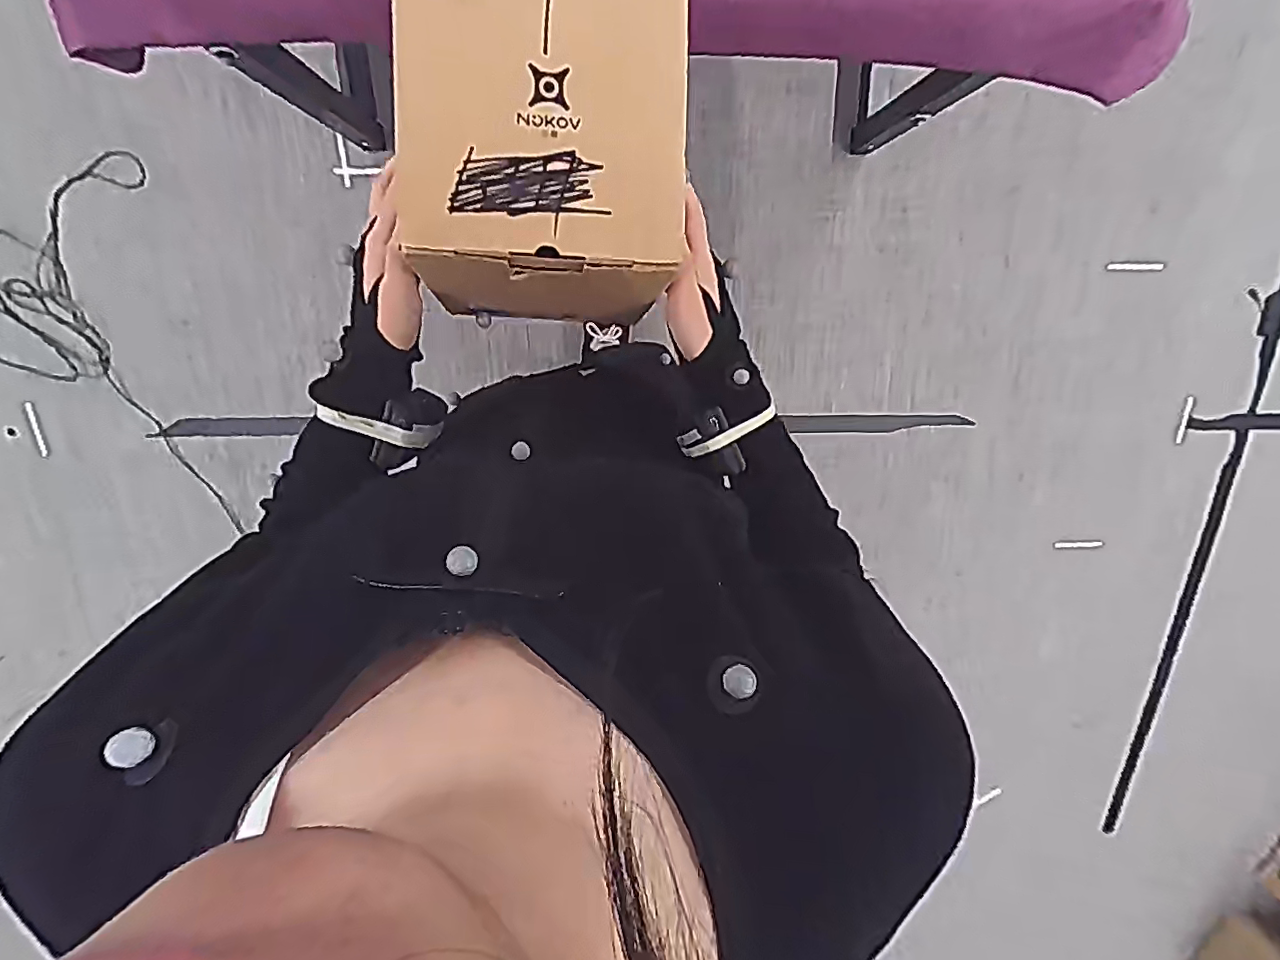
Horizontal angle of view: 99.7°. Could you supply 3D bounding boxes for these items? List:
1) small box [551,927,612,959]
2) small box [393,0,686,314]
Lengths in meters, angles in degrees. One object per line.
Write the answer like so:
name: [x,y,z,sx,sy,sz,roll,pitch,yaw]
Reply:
small box: [-0.170,1.452,1.582,0.179,0.176,0.168,-2,107,-2]
small box: [-0.068,-0.225,0.389,0.168,0.176,0.179,0,94,-10]
